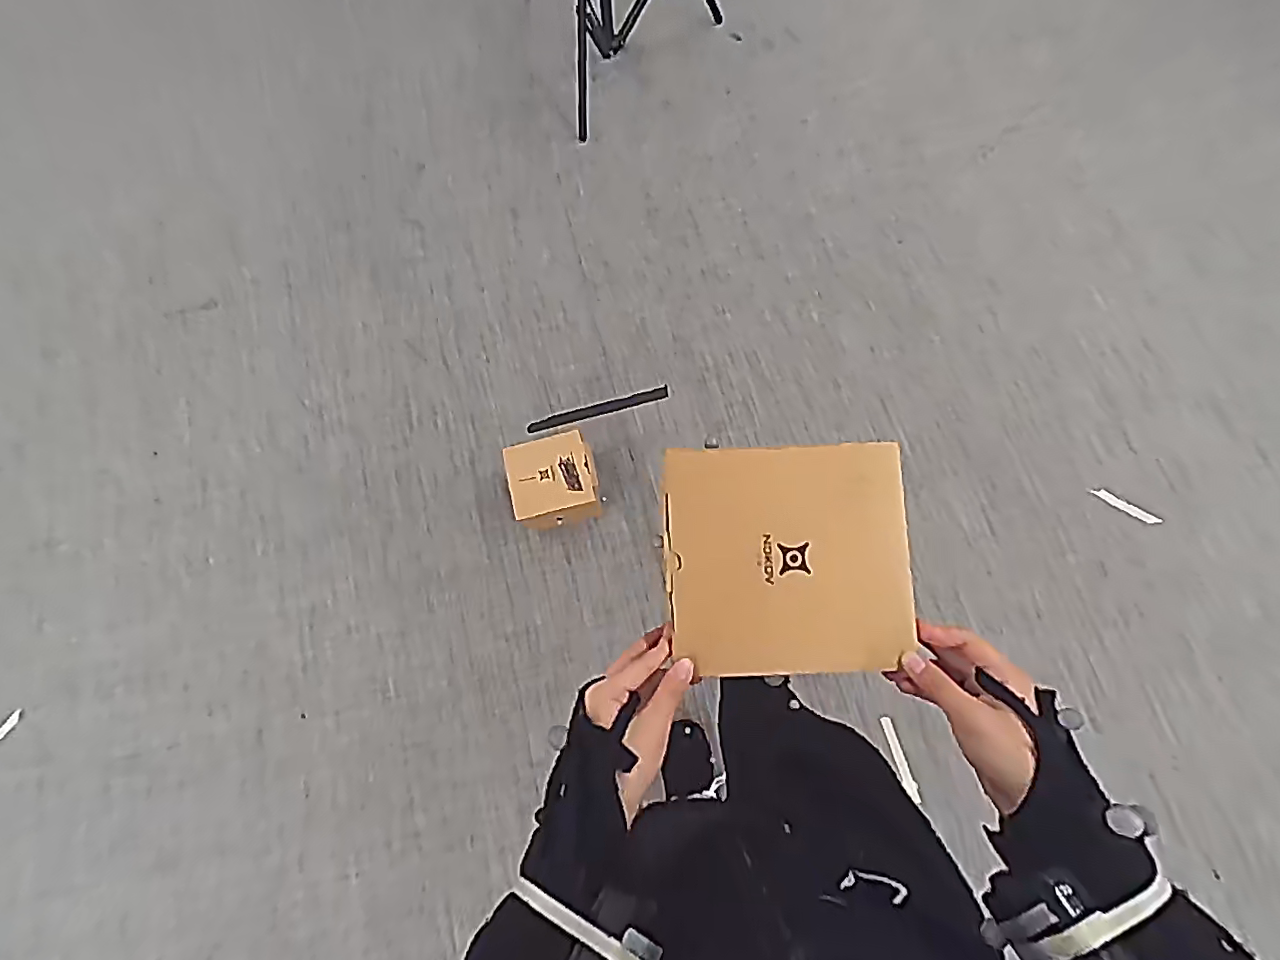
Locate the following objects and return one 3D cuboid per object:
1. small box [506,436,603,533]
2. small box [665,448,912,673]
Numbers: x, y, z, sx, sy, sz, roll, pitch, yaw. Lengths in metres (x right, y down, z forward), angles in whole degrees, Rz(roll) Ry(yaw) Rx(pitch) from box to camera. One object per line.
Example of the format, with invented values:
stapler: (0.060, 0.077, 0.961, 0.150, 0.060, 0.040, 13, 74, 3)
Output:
small box: (-0.186, 0.016, 1.233, 0.179, 0.176, 0.168, -14, 76, 0)
small box: (0.112, 0.065, 0.482, 0.179, 0.176, 0.168, -3, 84, 3)
